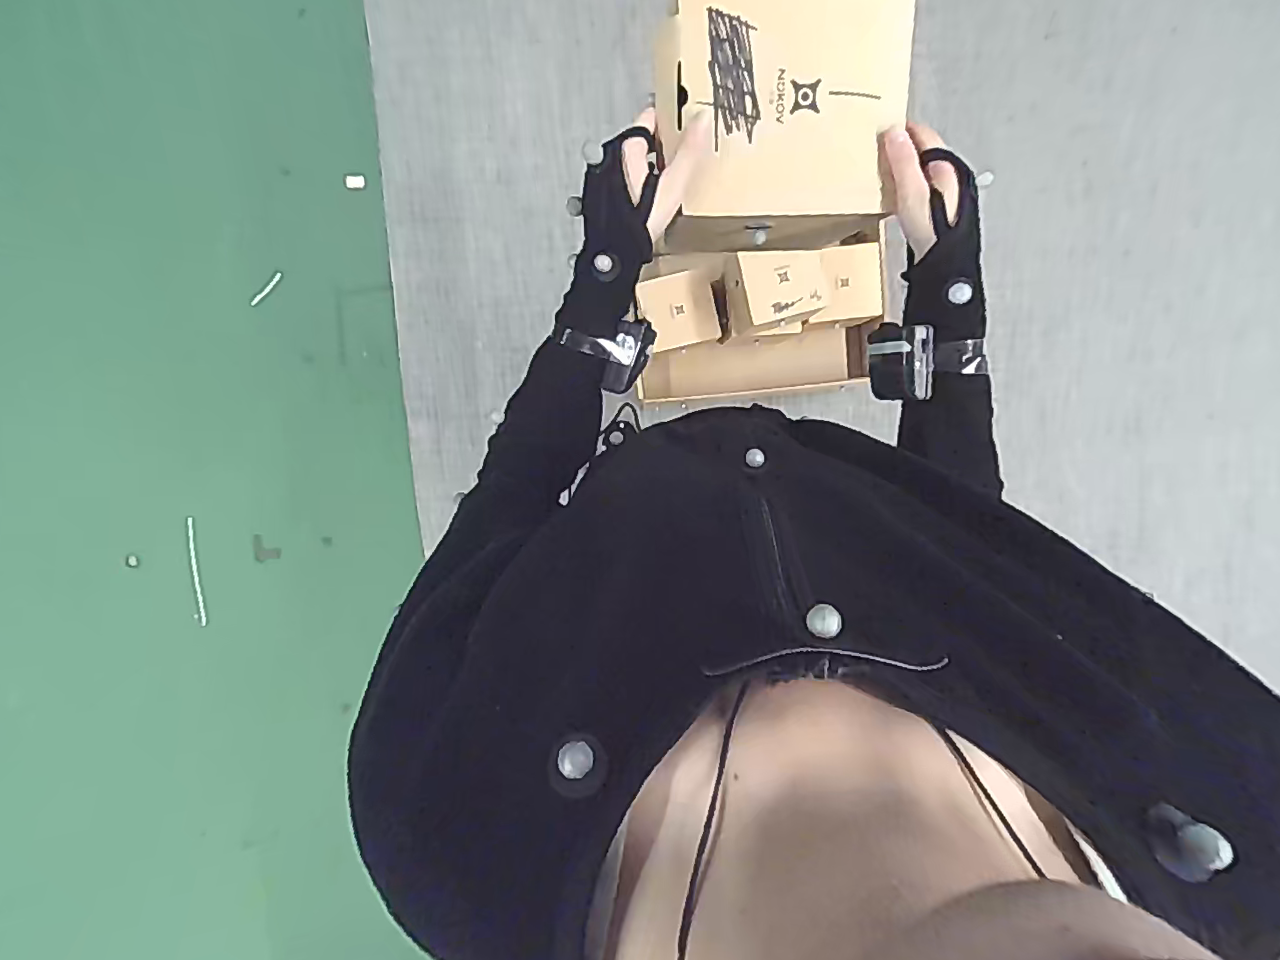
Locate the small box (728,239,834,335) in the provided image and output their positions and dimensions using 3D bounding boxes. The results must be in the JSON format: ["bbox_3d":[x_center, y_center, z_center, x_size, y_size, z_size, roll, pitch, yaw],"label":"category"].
[{"bbox_3d":[0.297,-0.430,1.170,0.168,0.176,0.179,-14,96,2],"label":"small box"}]

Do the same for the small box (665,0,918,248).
[{"bbox_3d":[0.113,-0.307,0.479,0.179,0.176,0.168,-2,104,-2],"label":"small box"}]
